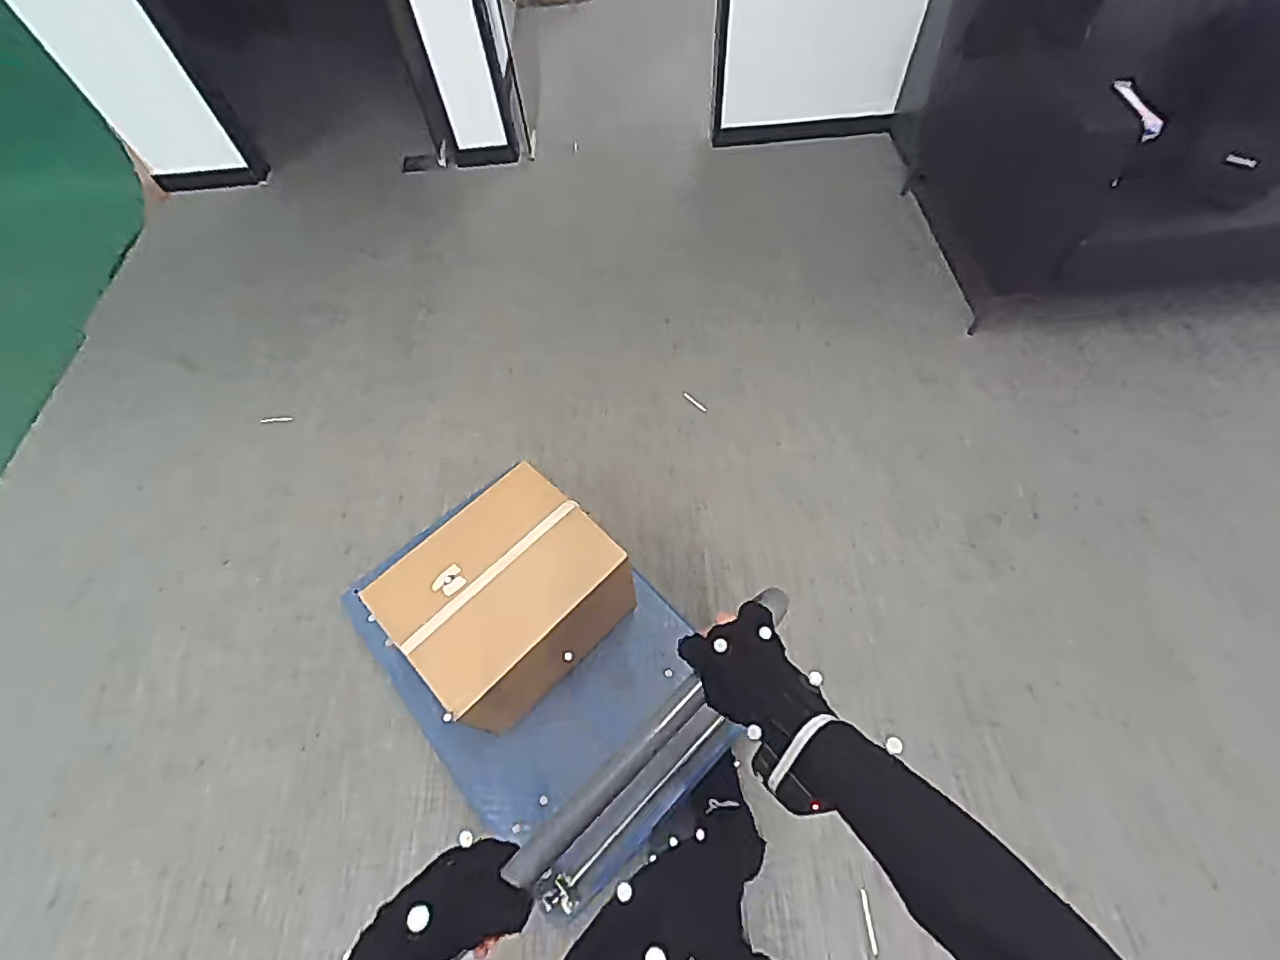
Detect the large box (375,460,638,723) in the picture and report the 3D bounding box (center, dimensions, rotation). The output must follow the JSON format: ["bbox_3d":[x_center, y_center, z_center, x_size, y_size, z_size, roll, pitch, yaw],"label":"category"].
[{"bbox_3d":[-0.250,0.244,1.156,0.320,0.320,0.408,39,70,22],"label":"large box"}]
